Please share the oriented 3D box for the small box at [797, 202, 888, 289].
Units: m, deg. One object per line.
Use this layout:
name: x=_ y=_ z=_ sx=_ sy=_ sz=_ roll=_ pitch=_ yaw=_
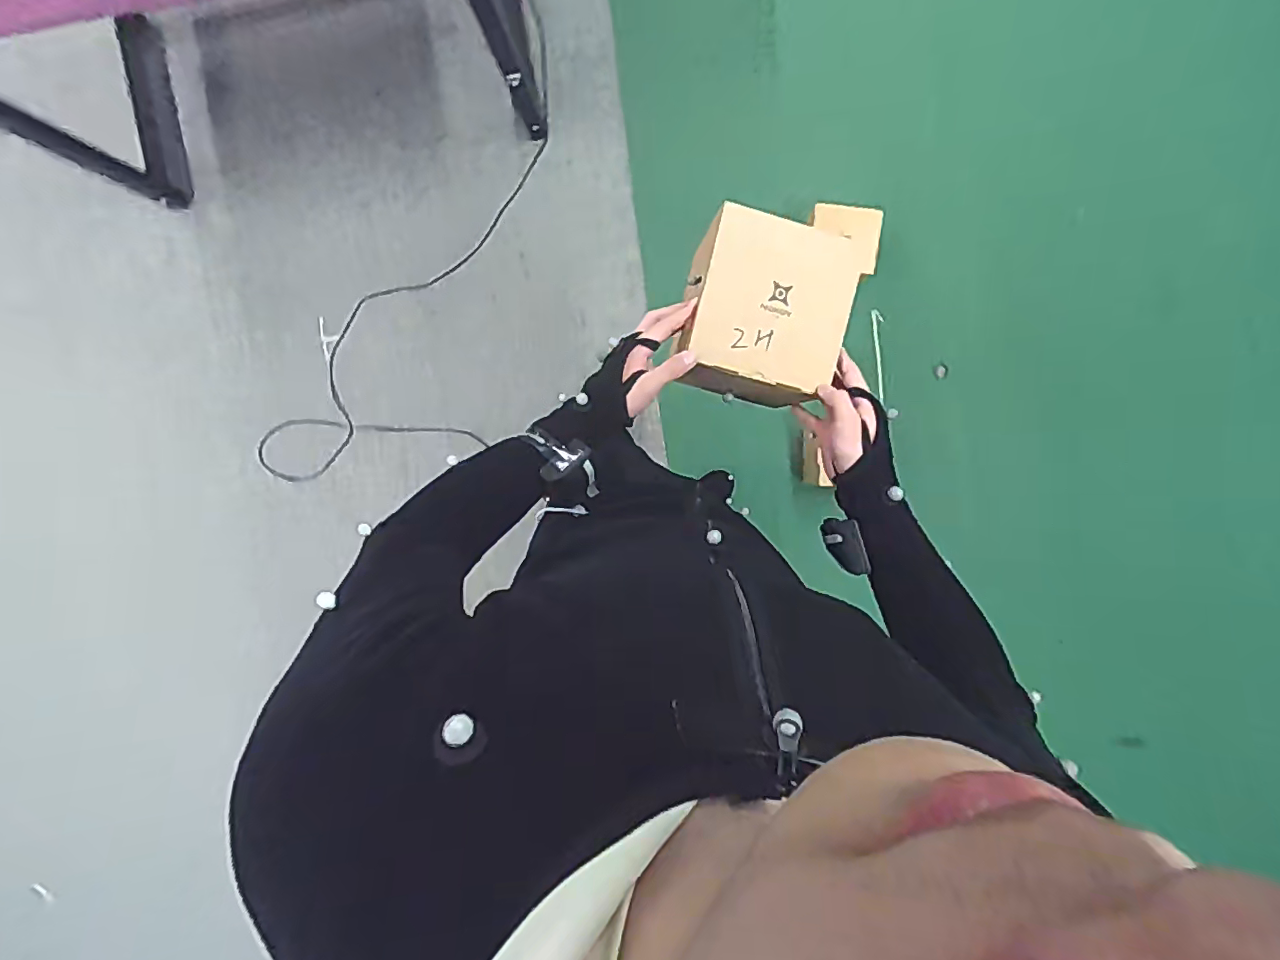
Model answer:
small box: x=0.546 y=-0.632 z=1.479 sx=0.179 sy=0.176 sz=0.168 roll=9 pitch=94 yaw=3
